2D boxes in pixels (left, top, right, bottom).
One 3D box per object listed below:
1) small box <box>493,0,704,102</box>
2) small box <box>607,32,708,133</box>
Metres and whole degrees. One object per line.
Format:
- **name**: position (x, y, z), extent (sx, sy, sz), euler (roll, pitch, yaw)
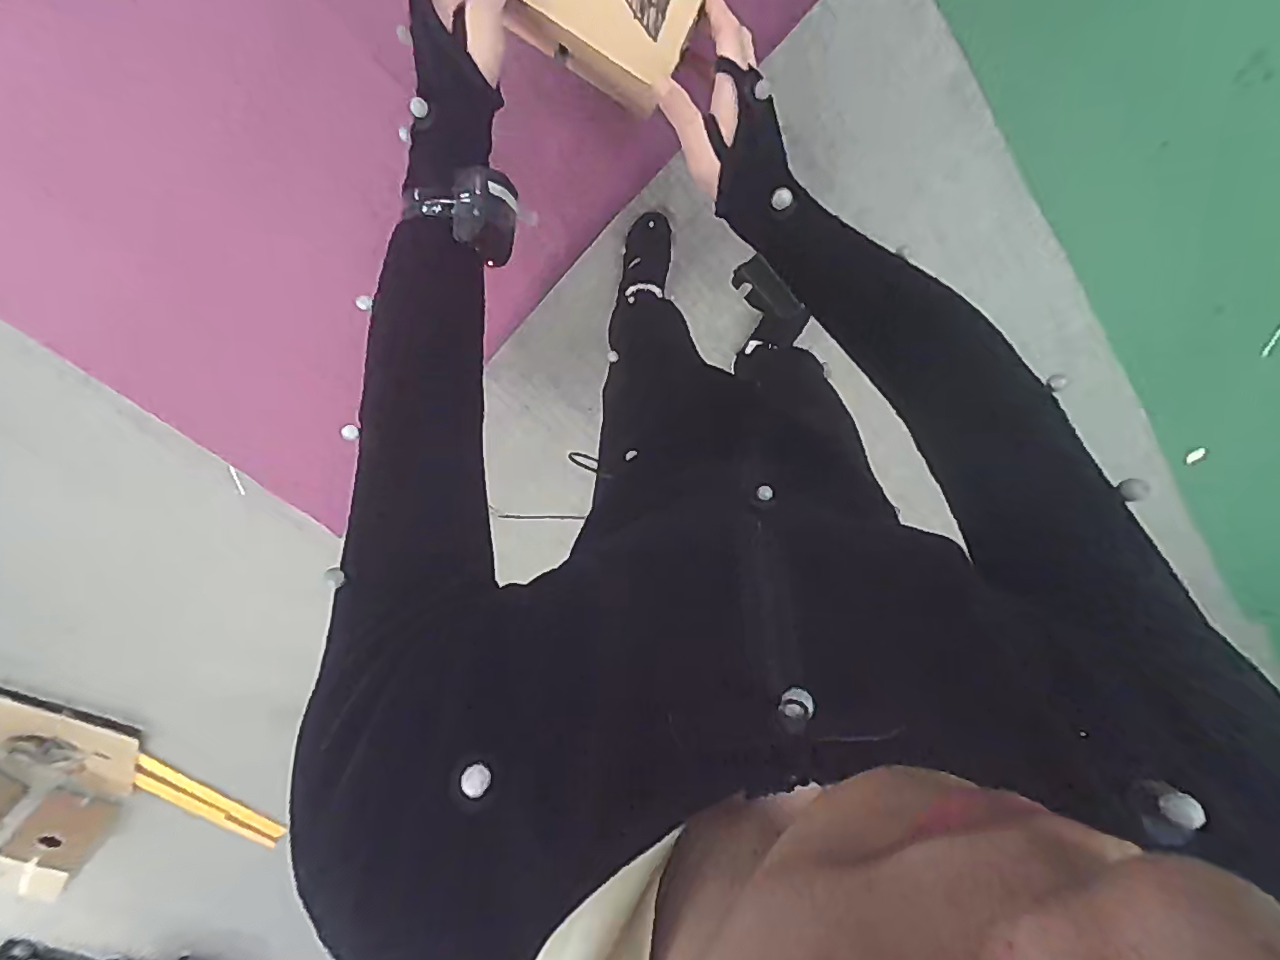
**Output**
- **small box**: position (-0.023, -0.455, 0.456), extent (0.179, 0.176, 0.168), euler (25, 113, -15)
- **small box**: position (0.021, -0.854, 1.119), extent (0.179, 0.176, 0.168), euler (-40, 113, 20)
